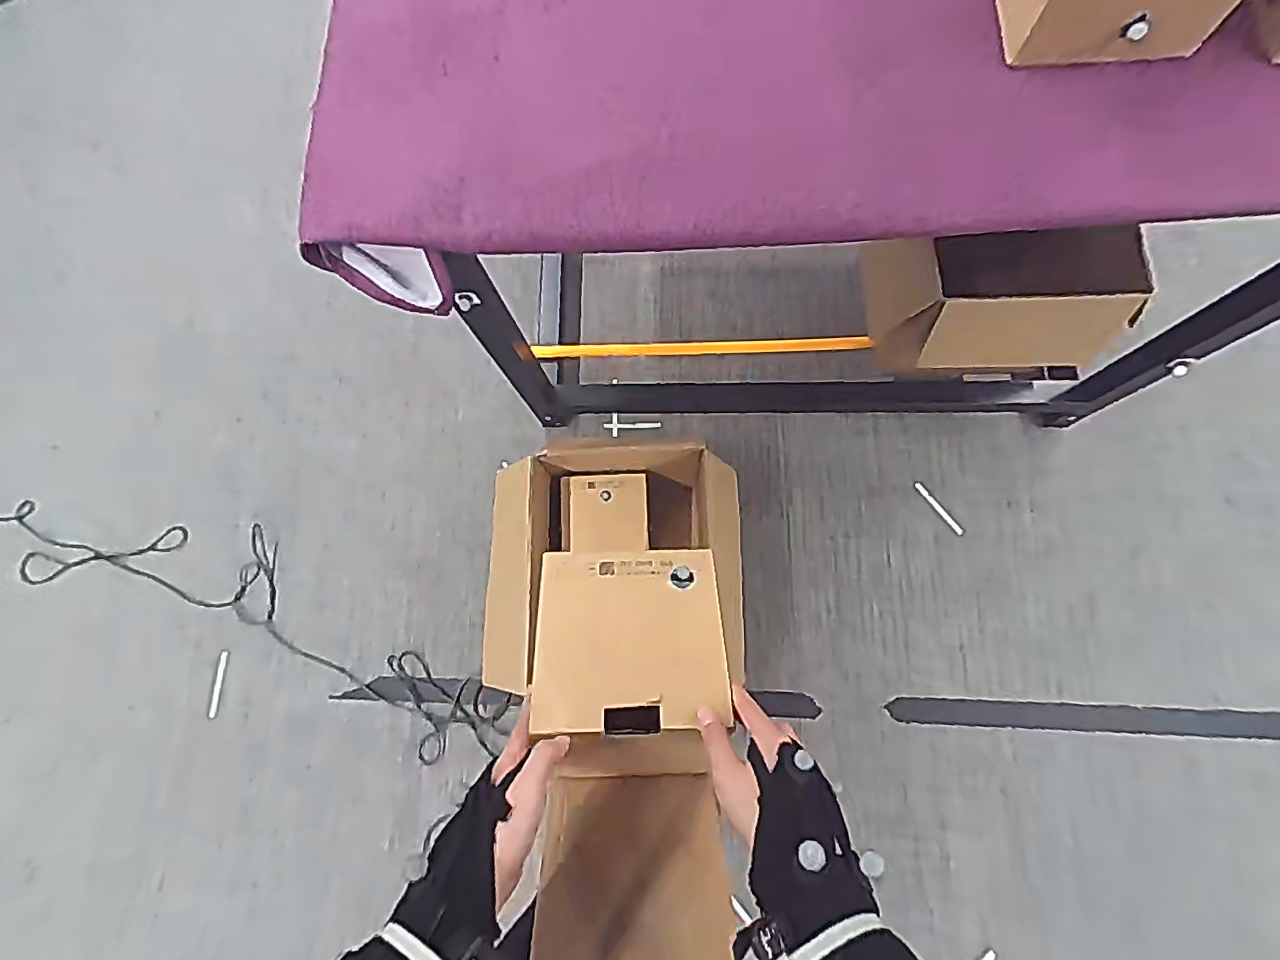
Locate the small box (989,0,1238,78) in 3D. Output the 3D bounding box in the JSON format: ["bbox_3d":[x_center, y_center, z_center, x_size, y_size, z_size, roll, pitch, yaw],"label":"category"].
[{"bbox_3d":[0.466,-0.524,0.507,0.179,0.176,0.168,1,75,5],"label":"small box"}]
